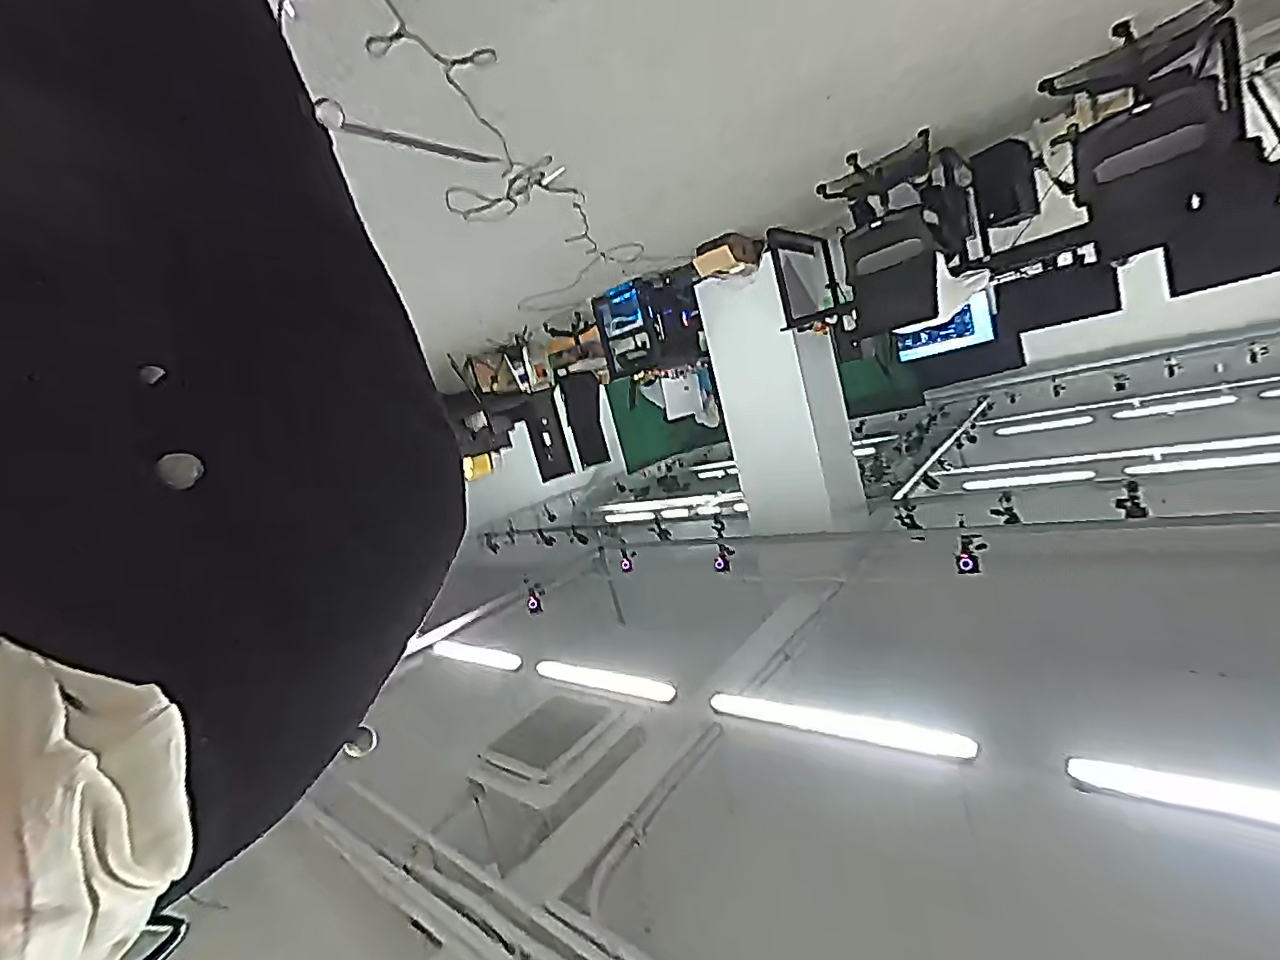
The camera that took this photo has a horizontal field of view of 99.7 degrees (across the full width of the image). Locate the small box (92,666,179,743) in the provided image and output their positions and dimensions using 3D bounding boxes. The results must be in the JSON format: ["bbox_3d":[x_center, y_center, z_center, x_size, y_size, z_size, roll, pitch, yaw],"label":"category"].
[{"bbox_3d":[-1.740,0.765,1.861,0.179,0.176,0.168,-6,-168,38],"label":"small box"}]
